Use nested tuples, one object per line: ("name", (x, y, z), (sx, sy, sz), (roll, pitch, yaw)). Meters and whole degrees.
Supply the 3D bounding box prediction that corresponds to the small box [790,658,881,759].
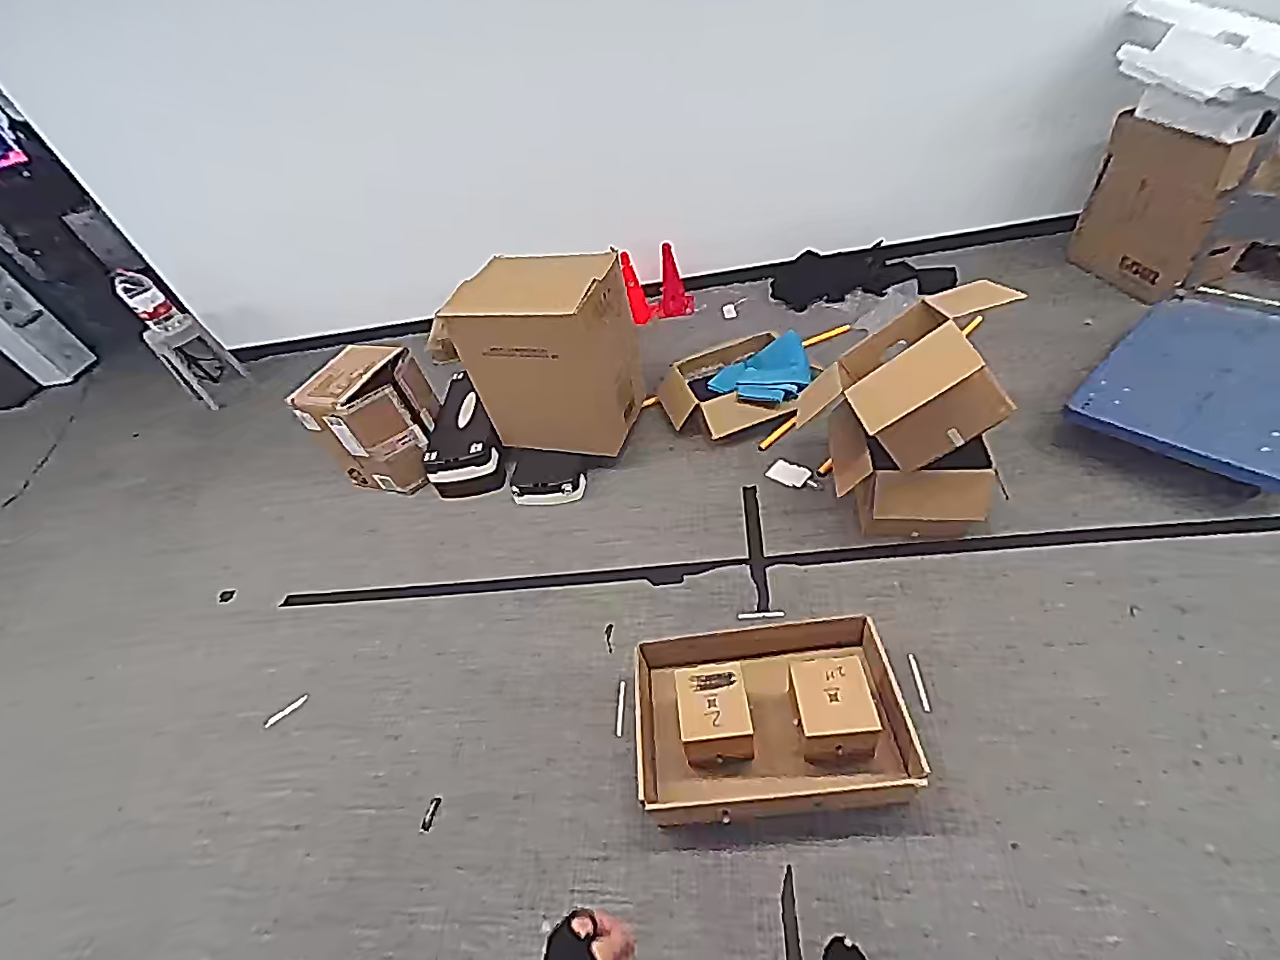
("small box", (0.459, 0.550, 1.289), (0.168, 0.176, 0.179), (-8, 44, 7))
